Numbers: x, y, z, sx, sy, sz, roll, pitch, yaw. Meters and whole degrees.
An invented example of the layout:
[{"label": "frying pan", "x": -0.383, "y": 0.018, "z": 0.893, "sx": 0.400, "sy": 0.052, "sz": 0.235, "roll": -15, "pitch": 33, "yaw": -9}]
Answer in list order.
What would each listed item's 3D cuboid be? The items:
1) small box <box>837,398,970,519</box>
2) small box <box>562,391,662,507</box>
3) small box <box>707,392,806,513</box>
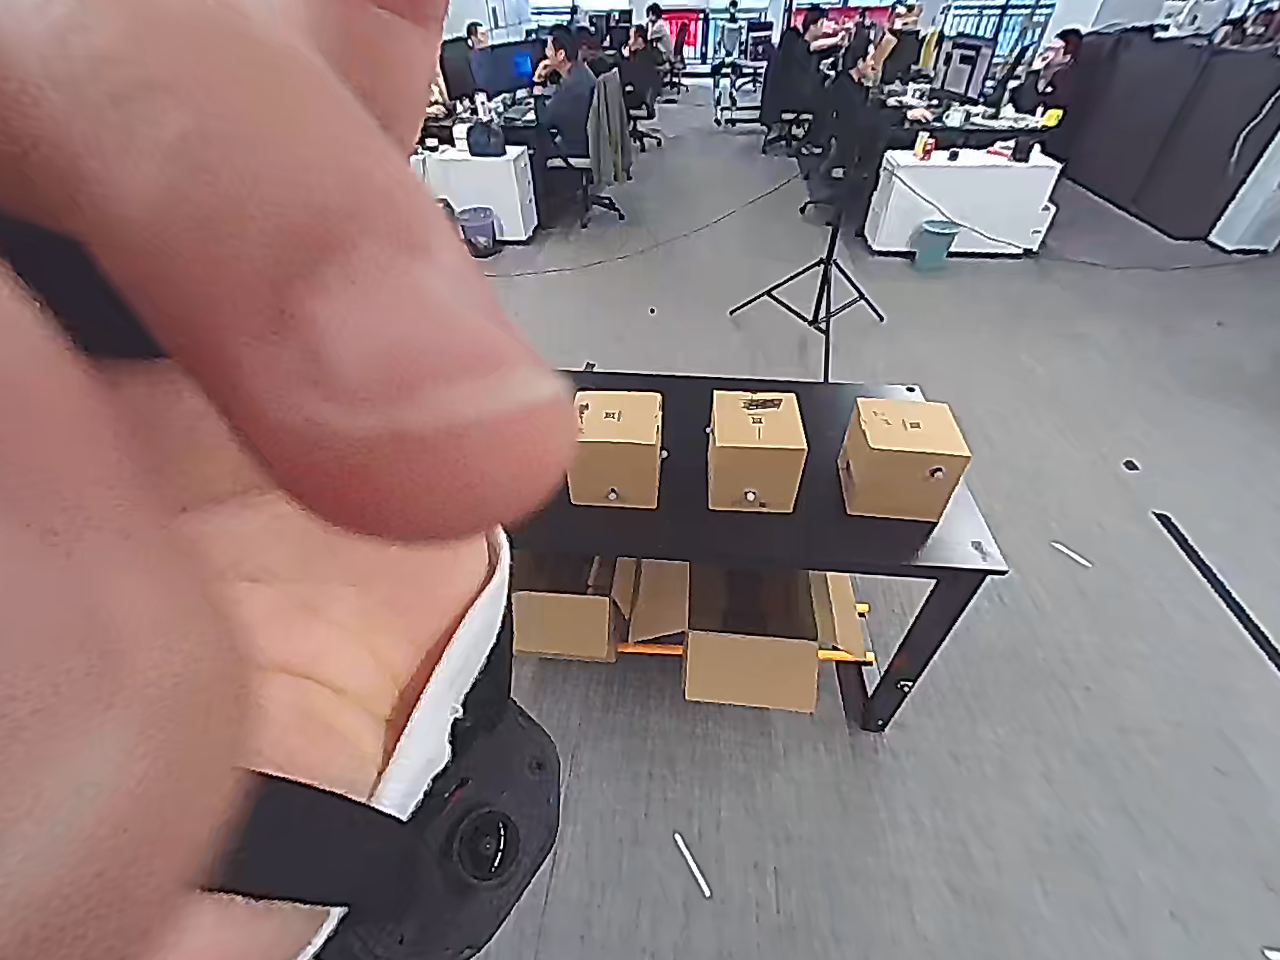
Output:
[{"label": "small box", "x": 0.501, "y": -0.041, "z": 1.057, "sx": 0.179, "sy": 0.176, "sz": 0.168, "roll": 4, "pitch": 41, "yaw": 7}, {"label": "small box", "x": -0.049, "y": -0.060, "z": 1.092, "sx": 0.179, "sy": 0.176, "sz": 0.168, "roll": 3, "pitch": 42, "yaw": 3}, {"label": "small box", "x": 0.223, "y": -0.056, "z": 1.082, "sx": 0.168, "sy": 0.176, "sz": 0.179, "roll": 2, "pitch": 43, "yaw": 4}]
